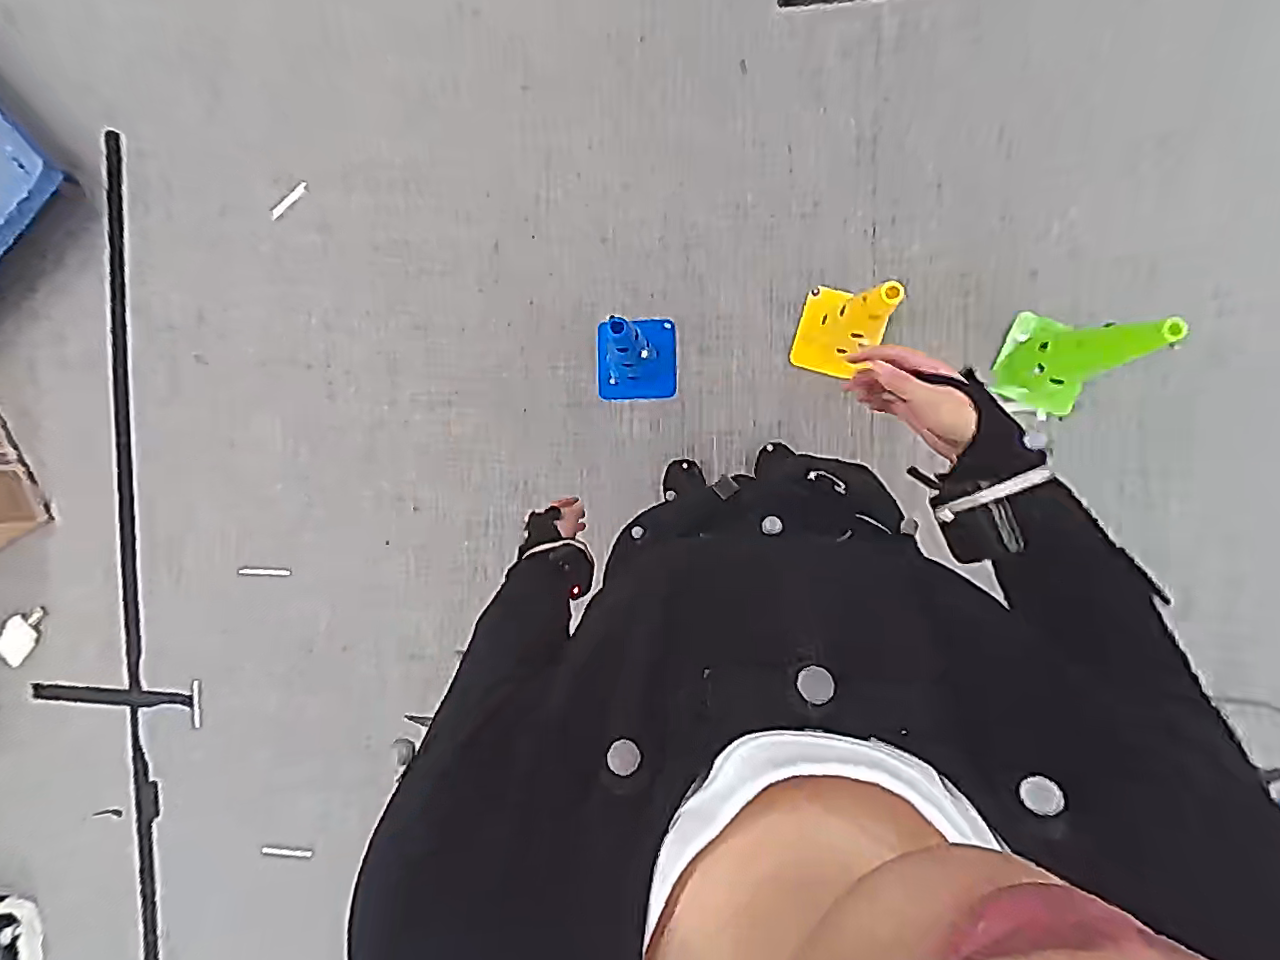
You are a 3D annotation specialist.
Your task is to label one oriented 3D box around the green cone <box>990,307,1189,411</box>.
[{"bbox_3d":[0.934,-0.273,1.100,0.200,0.368,0.202,22,96,5],"label":"green cone"}]
